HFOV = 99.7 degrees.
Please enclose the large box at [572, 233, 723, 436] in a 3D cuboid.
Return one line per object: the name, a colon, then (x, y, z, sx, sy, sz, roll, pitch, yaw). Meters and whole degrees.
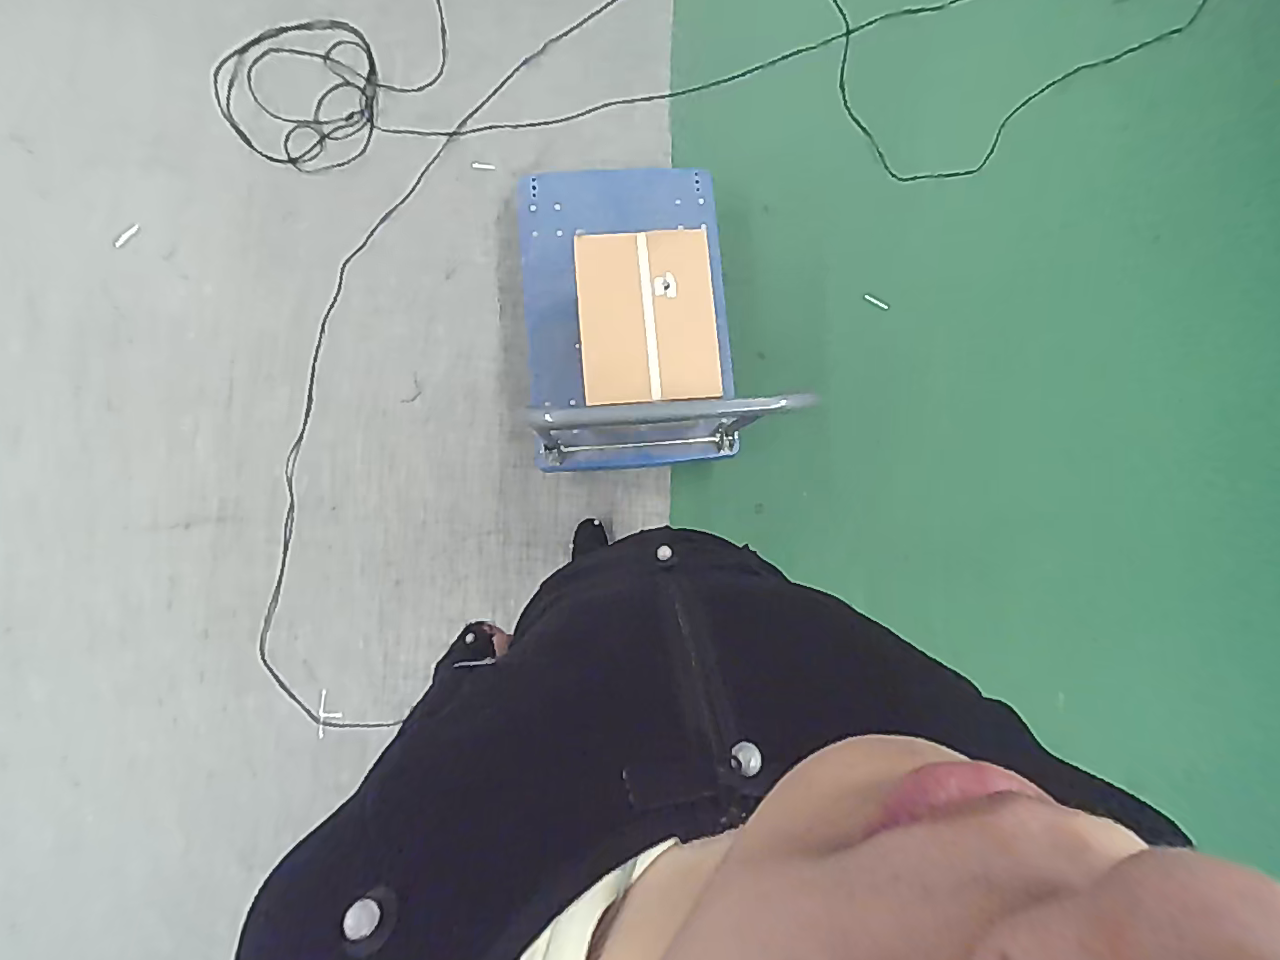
large box: (0.007, -0.350, 1.378, 0.320, 0.320, 0.408, -5, 83, -5)
